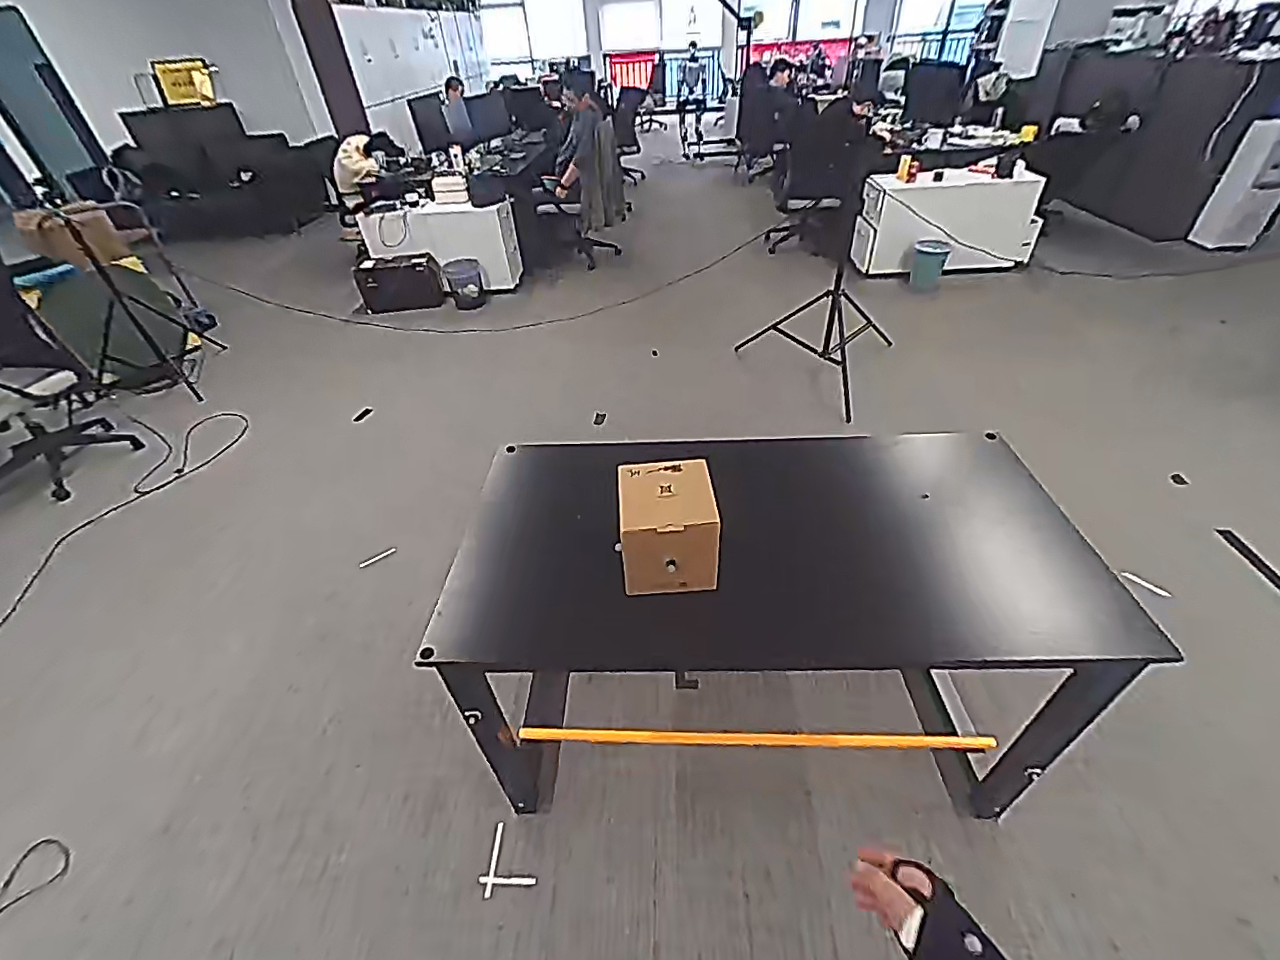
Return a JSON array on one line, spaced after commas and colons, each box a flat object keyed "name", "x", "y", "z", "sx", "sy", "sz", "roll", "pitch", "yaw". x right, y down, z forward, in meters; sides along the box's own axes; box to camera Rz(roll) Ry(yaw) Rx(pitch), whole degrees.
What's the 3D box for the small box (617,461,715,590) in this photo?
[{"name": "small box", "x": 0.048, "y": 0.089, "z": 0.997, "sx": 0.168, "sy": 0.176, "sz": 0.179, "roll": -5, "pitch": 40, "yaw": 0}]
